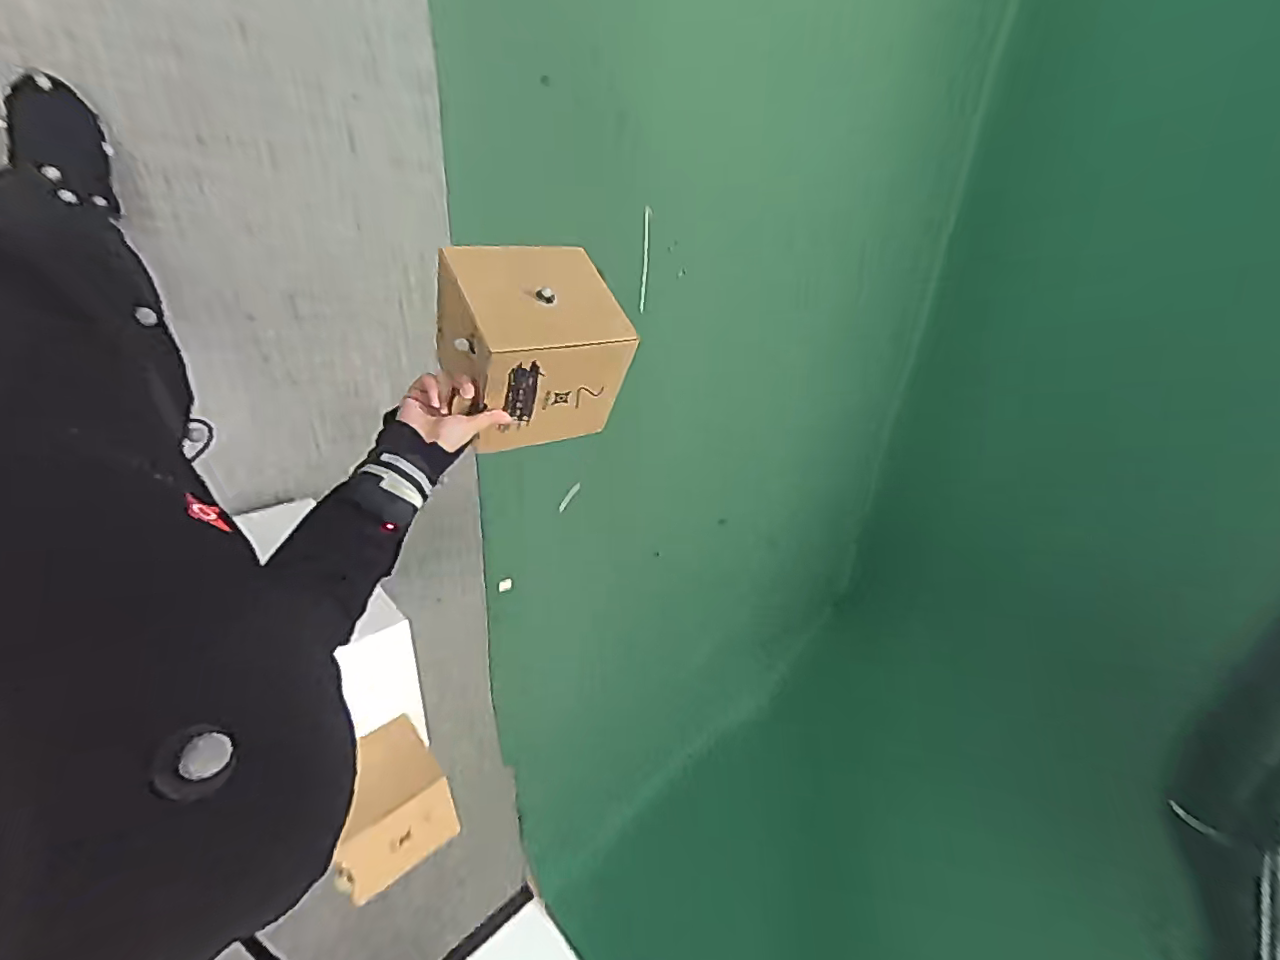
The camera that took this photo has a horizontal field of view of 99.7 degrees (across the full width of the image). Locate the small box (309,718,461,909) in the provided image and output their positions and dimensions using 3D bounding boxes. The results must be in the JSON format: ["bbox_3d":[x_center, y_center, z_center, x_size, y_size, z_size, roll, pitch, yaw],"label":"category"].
[{"bbox_3d":[-0.432,0.550,0.913,0.179,0.176,0.168,-24,128,-37],"label":"small box"}]
